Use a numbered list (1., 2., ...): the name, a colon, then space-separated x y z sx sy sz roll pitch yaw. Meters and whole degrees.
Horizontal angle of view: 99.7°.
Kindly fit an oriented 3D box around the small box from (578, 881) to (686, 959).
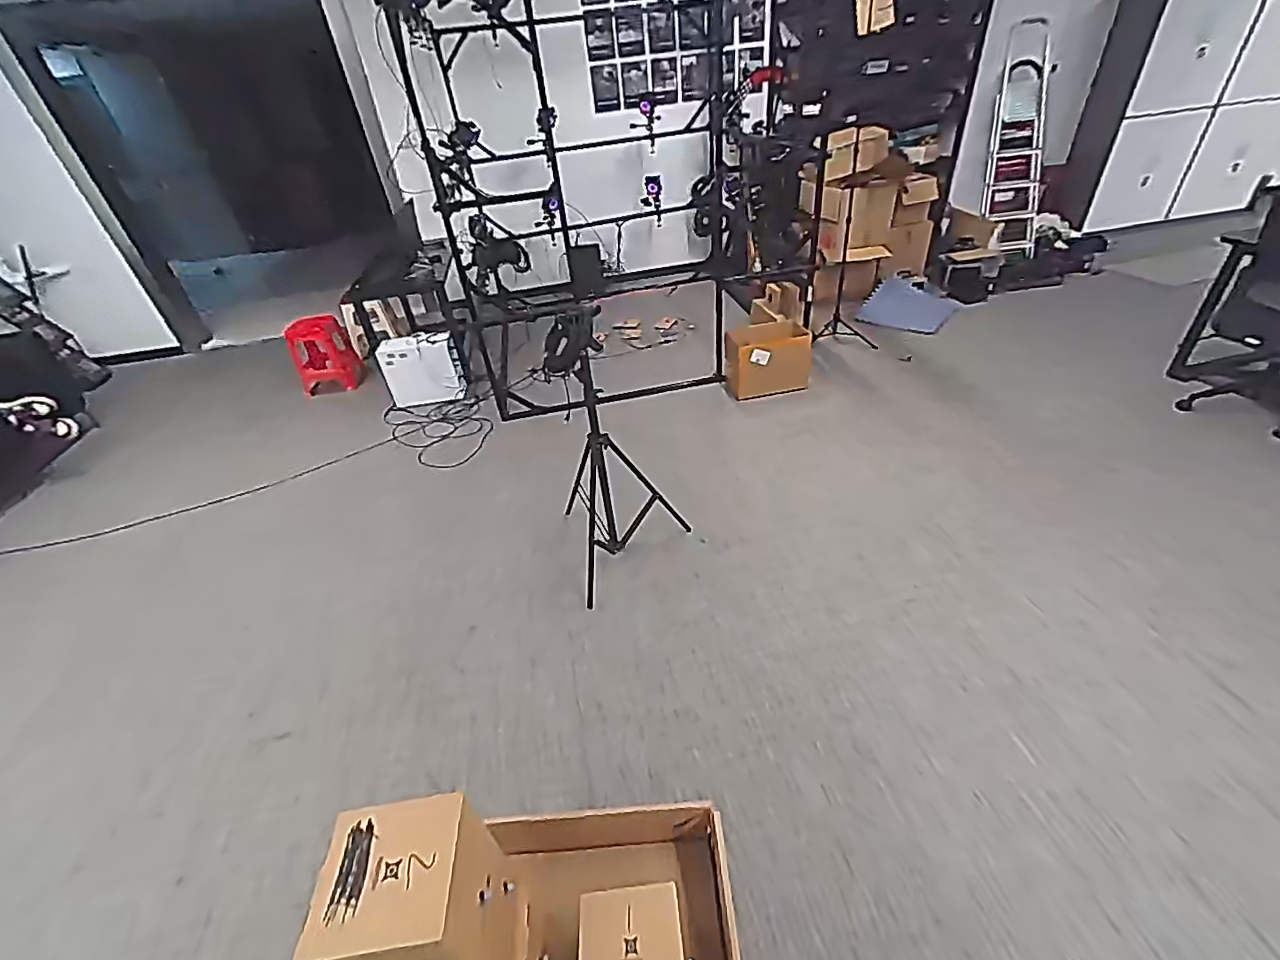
1. small box: -0.007 0.801 0.891 0.168 0.176 0.179 -7 36 0

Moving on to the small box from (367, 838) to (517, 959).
1. small box: -0.288 0.684 0.818 0.168 0.176 0.179 -10 36 -2

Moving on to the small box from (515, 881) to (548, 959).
1. small box: -0.262 0.815 0.914 0.179 0.176 0.168 -7 37 -1
